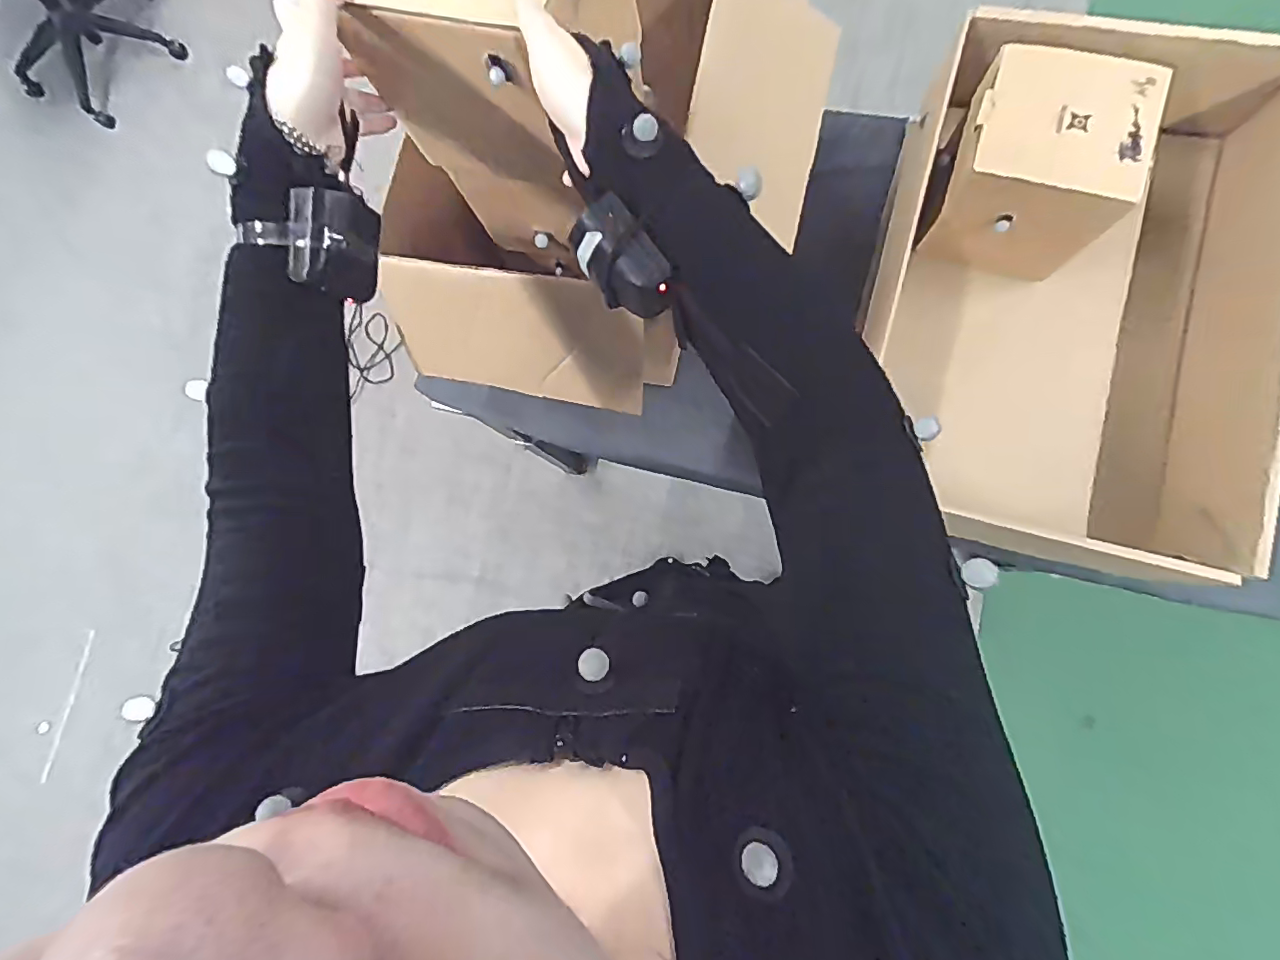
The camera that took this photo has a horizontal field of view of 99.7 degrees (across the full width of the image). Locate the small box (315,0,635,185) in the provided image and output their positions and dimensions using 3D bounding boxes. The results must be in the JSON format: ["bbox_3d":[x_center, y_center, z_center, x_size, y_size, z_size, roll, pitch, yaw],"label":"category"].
[{"bbox_3d":[-0.114,-0.376,0.444,0.179,0.176,0.168,14,87,7],"label":"small box"}]
